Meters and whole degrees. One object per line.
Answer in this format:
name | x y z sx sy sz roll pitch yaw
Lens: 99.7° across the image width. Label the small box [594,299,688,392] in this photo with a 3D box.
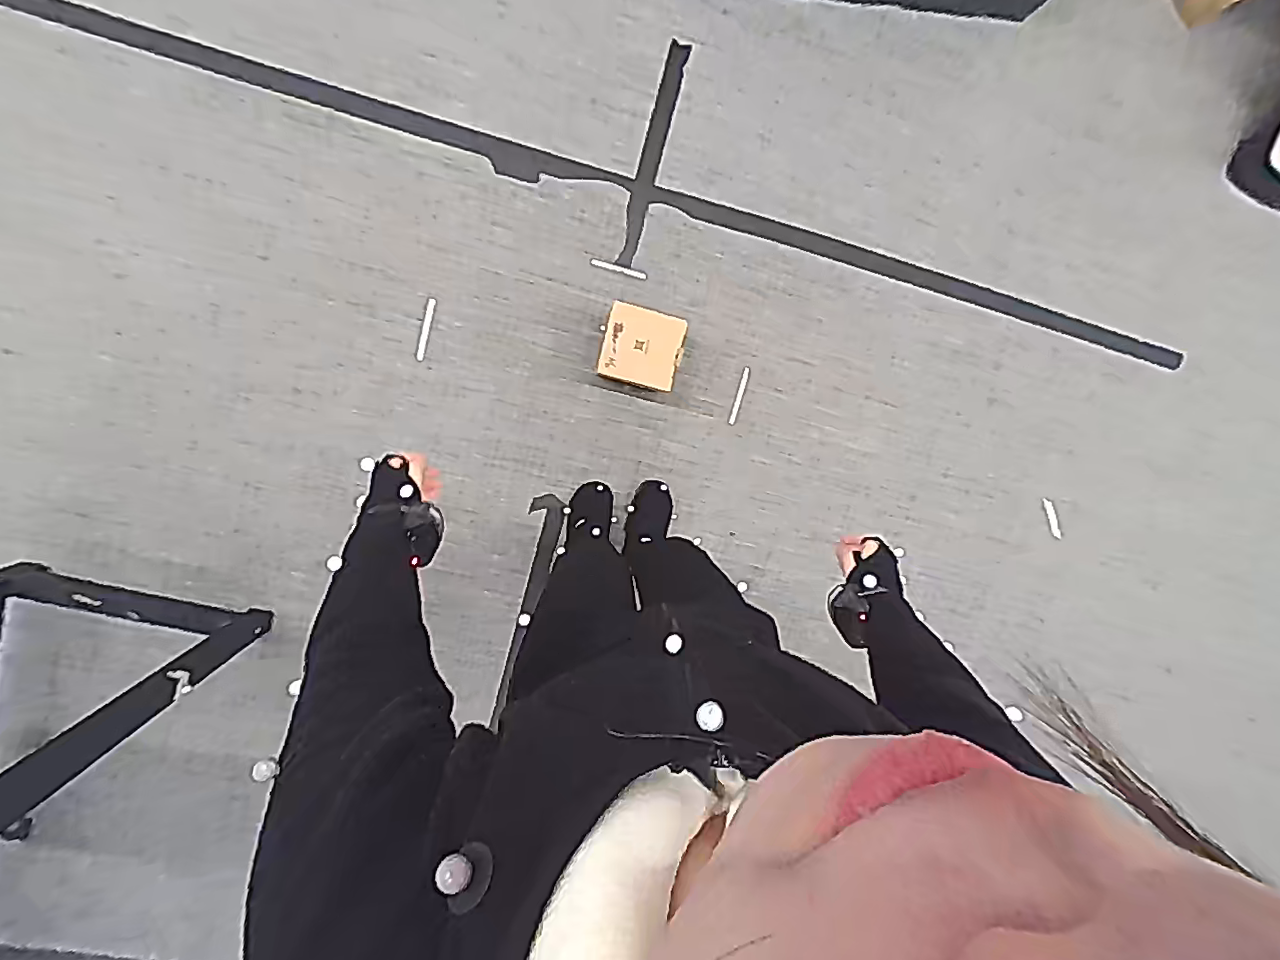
small box | -0.005 -0.313 1.282 0.179 0.176 0.168 14 98 -9
